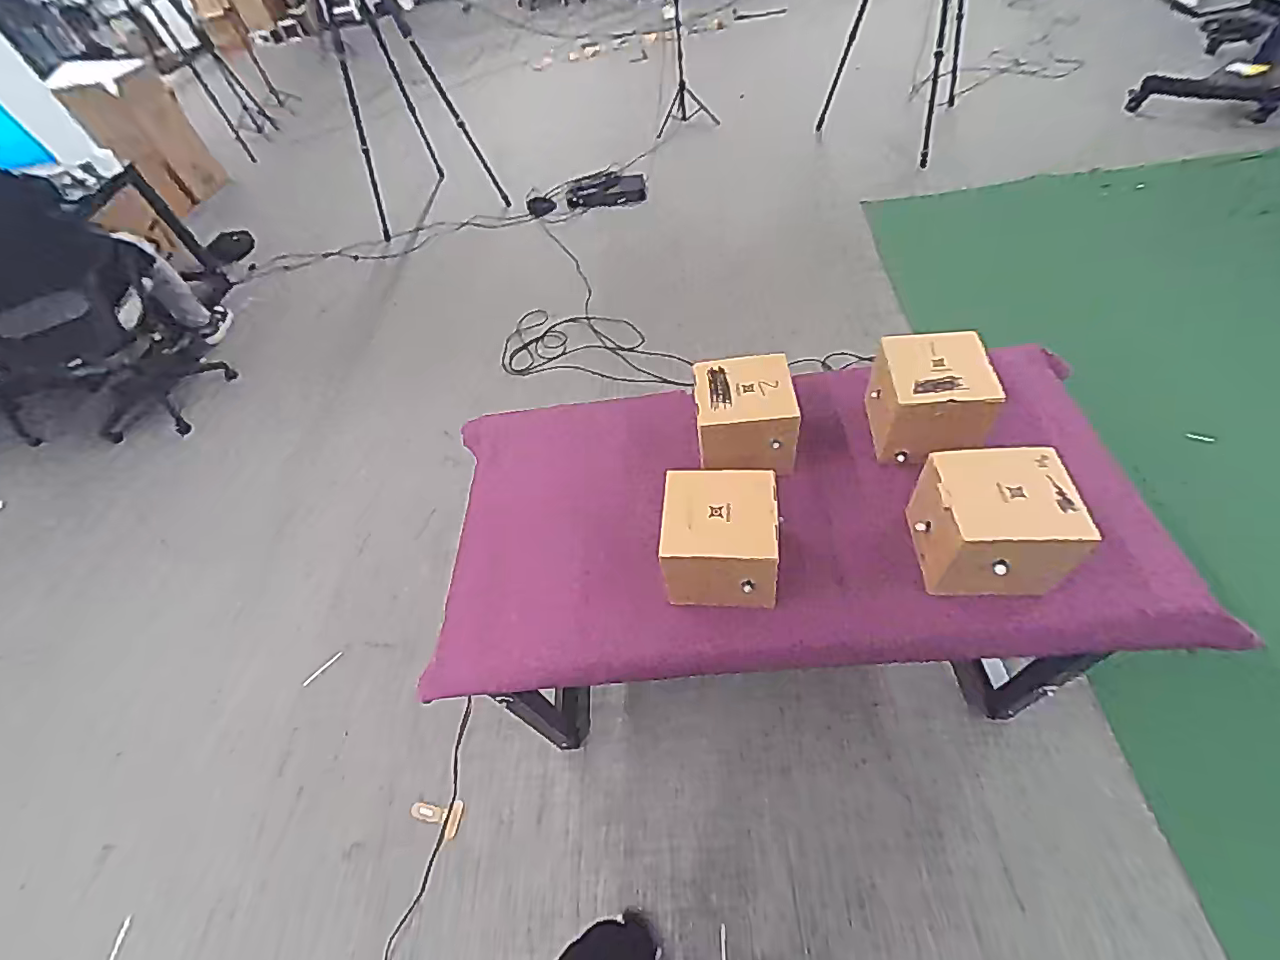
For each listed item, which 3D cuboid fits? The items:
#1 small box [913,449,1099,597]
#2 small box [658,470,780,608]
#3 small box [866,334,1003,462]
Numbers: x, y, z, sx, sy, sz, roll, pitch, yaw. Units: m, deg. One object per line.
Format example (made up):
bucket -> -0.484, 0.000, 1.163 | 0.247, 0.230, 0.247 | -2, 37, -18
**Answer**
small box -> 0.538, 0.071, 0.833 | 0.179, 0.176, 0.168 | -2, 52, 10
small box -> 0.133, 0.100, 0.887 | 0.179, 0.176, 0.168 | 0, 52, 11
small box -> 0.529, -0.144, 0.999 | 0.168, 0.176, 0.179 | -1, 52, 9
